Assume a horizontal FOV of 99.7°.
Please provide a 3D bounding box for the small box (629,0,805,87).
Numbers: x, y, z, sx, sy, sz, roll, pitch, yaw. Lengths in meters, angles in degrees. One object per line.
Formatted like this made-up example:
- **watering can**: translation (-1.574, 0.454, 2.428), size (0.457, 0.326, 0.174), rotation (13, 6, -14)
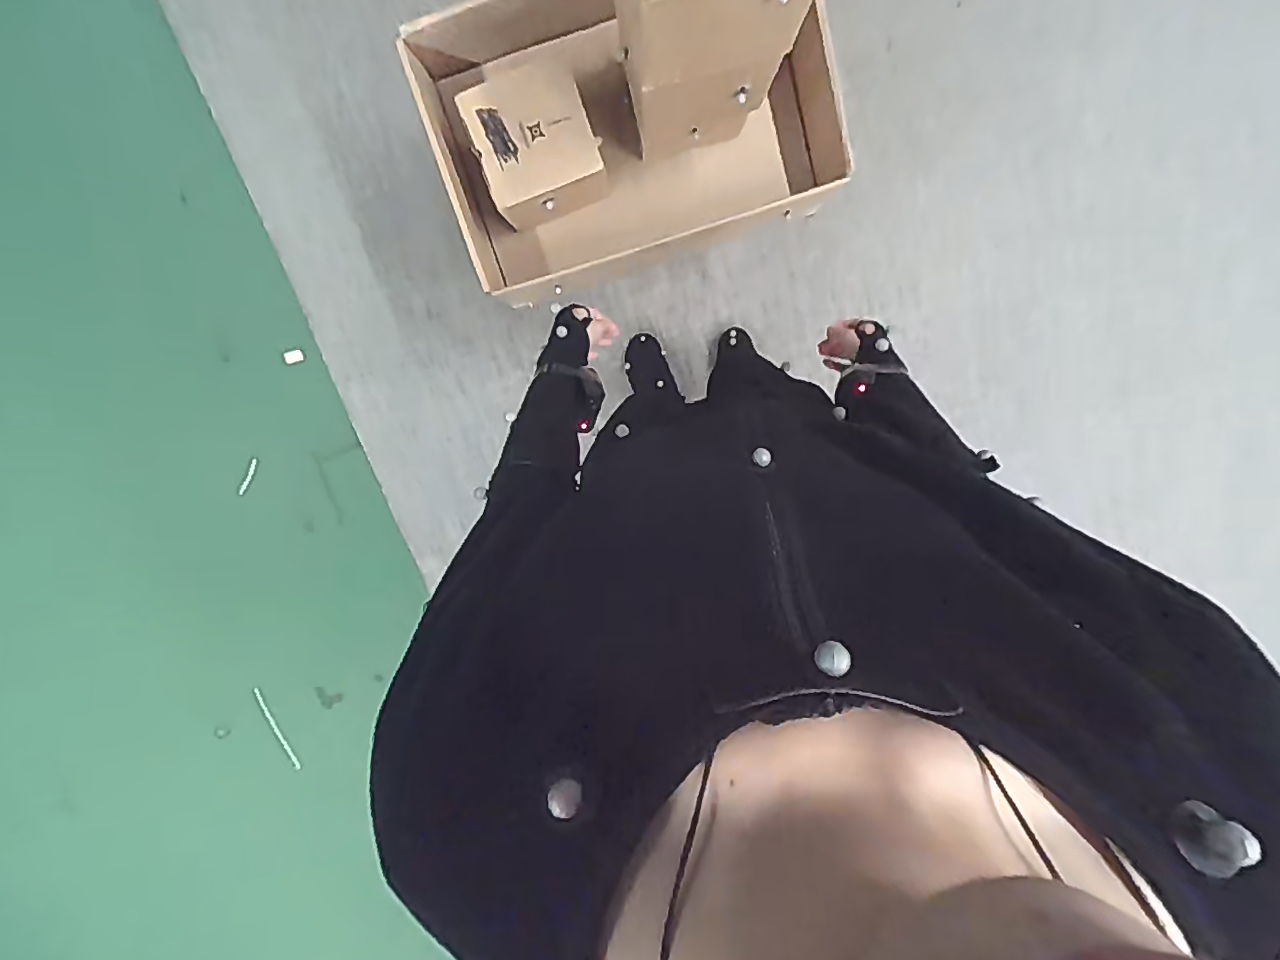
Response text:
- **small box**: translation (0.070, -0.533, 0.539), size (0.179, 0.176, 0.168), rotation (-11, 103, 4)

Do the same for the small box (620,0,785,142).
- **small box**: translation (0.072, -0.570, 0.696), size (0.179, 0.176, 0.168), rotation (-12, 103, 5)
